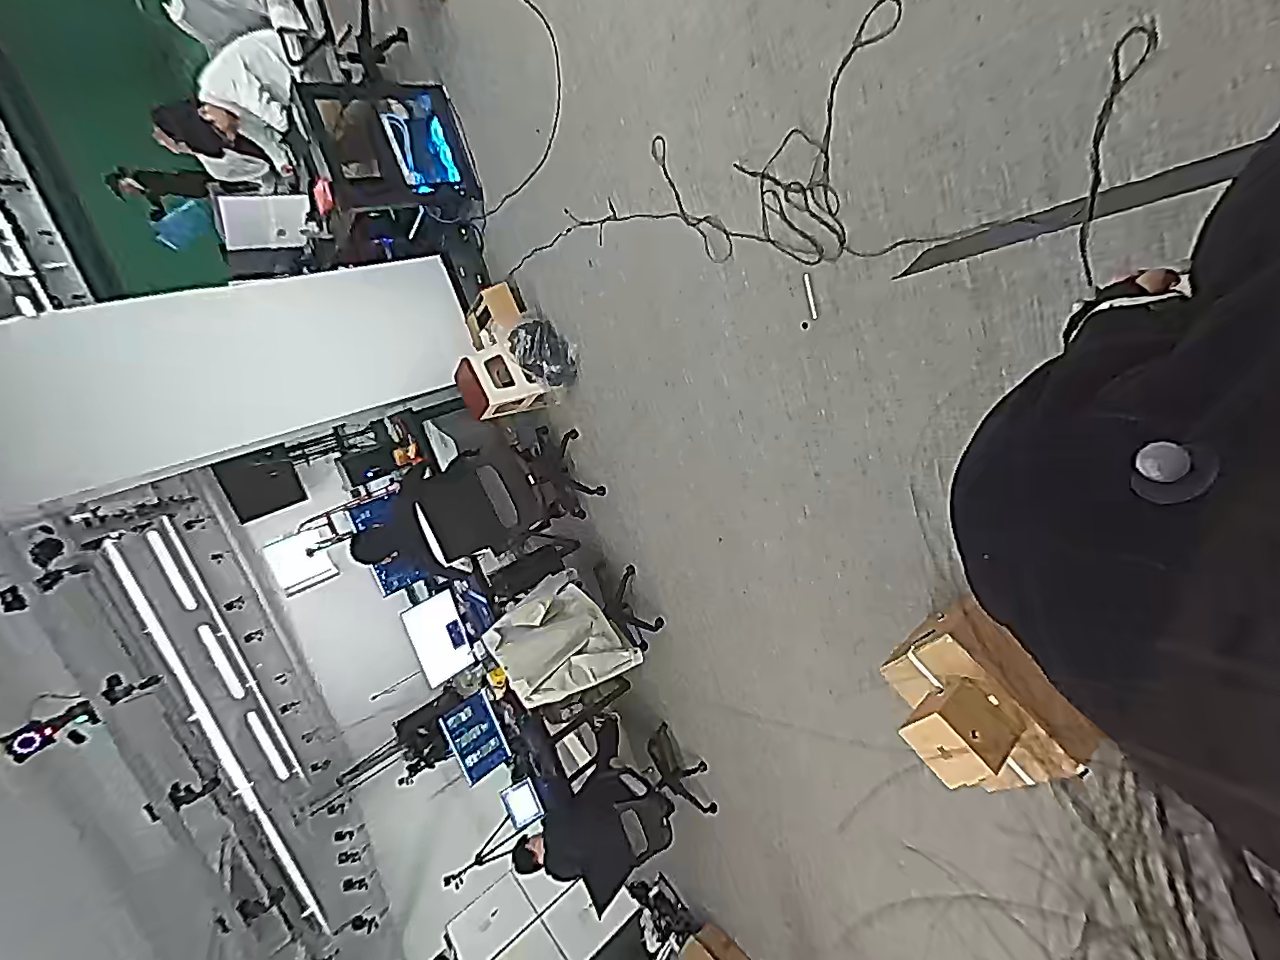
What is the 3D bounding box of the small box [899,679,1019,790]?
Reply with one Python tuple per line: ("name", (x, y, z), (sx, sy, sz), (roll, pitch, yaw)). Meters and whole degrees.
("small box", (0.819, 0.651, 1.388), (0.179, 0.176, 0.168), (50, 144, 24))
